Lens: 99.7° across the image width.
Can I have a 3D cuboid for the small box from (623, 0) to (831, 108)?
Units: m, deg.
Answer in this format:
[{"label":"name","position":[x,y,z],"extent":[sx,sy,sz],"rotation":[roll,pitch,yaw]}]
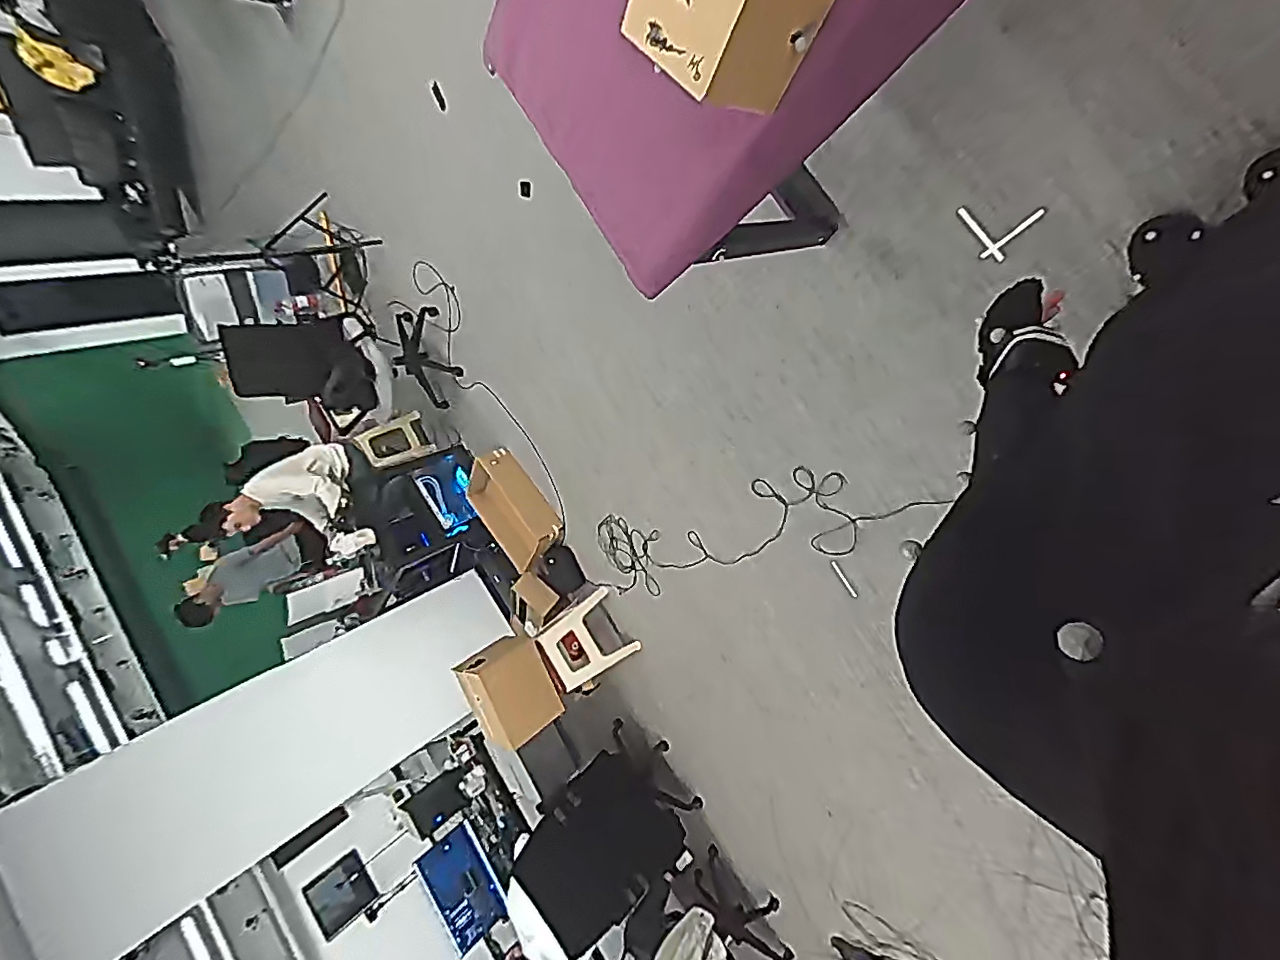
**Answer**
[{"label":"small box","position":[0.116,-0.598,0.663],"extent":[0.168,0.176,0.179],"rotation":[51,137,16]}]
